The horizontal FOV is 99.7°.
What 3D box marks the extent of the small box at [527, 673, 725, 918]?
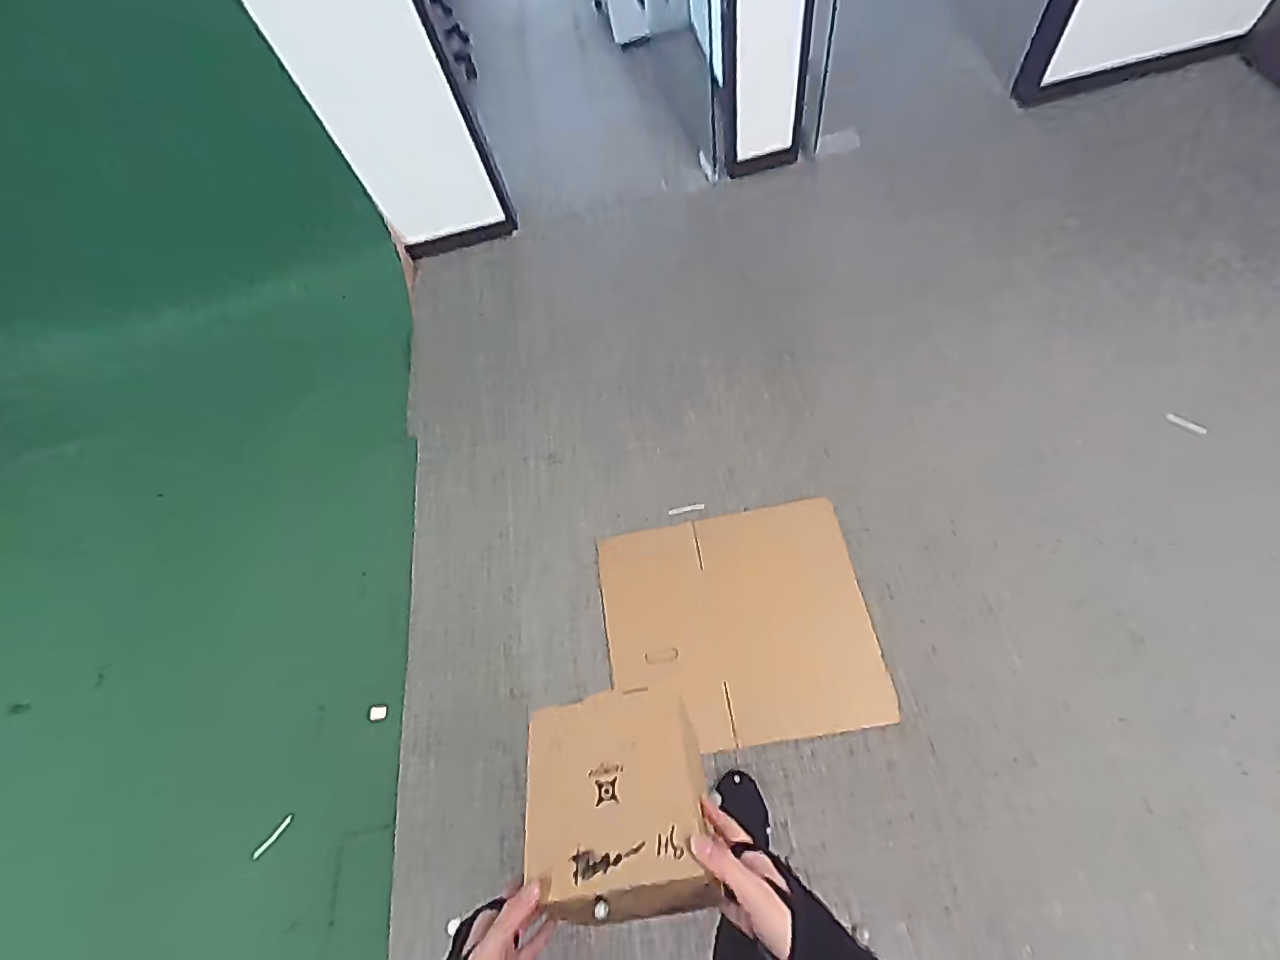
[{"bbox_3d":[-0.011,0.341,0.585,0.168,0.176,0.179,-13,43,5],"label":"small box"}]
